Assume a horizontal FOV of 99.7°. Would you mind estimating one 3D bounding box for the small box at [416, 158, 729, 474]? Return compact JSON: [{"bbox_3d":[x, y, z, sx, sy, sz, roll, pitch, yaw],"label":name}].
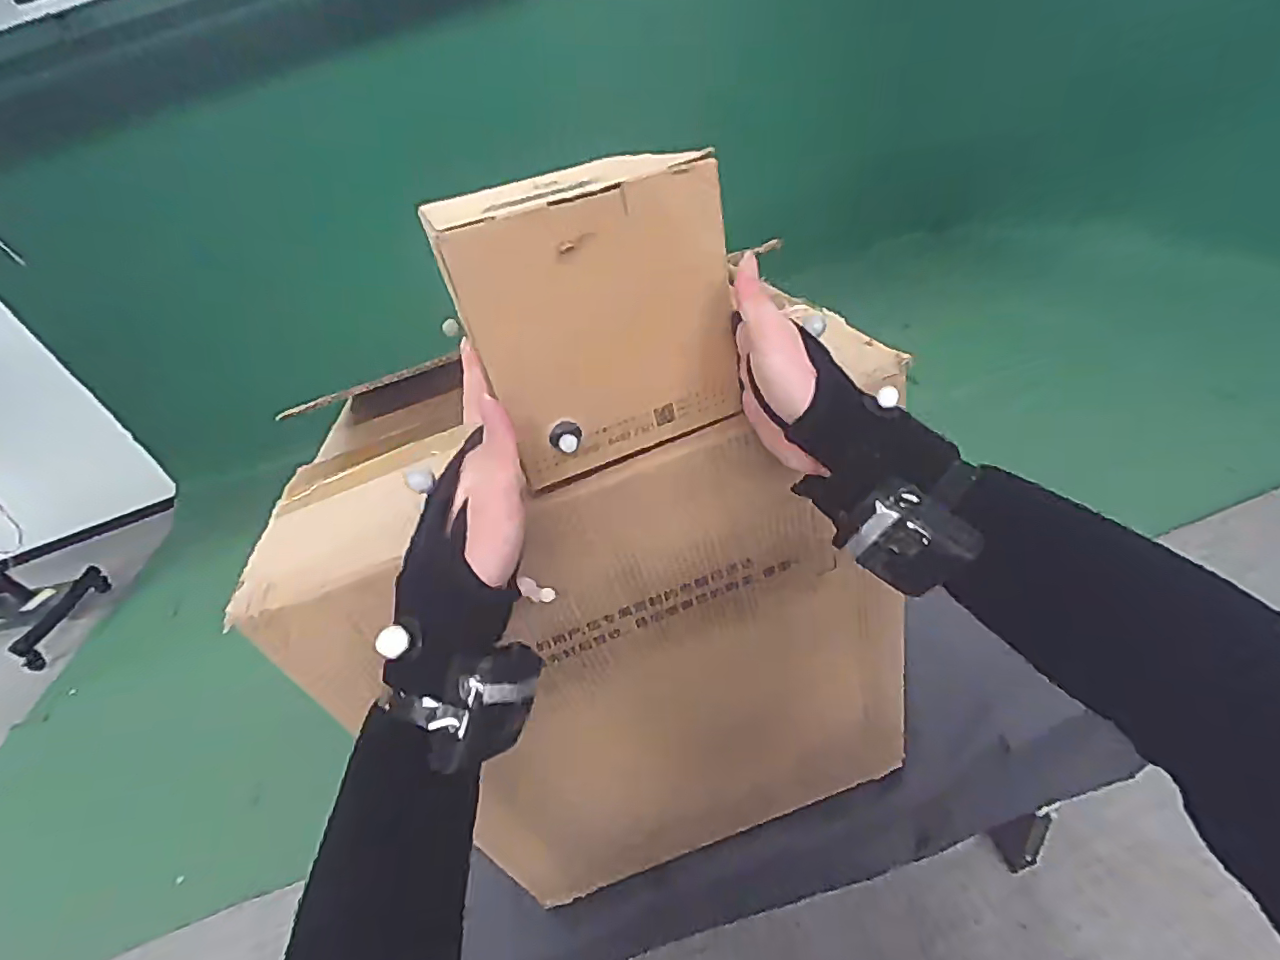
[{"bbox_3d":[-0.048,-0.123,0.401,0.168,0.176,0.179,-21,34,-13],"label":"small box"}]
